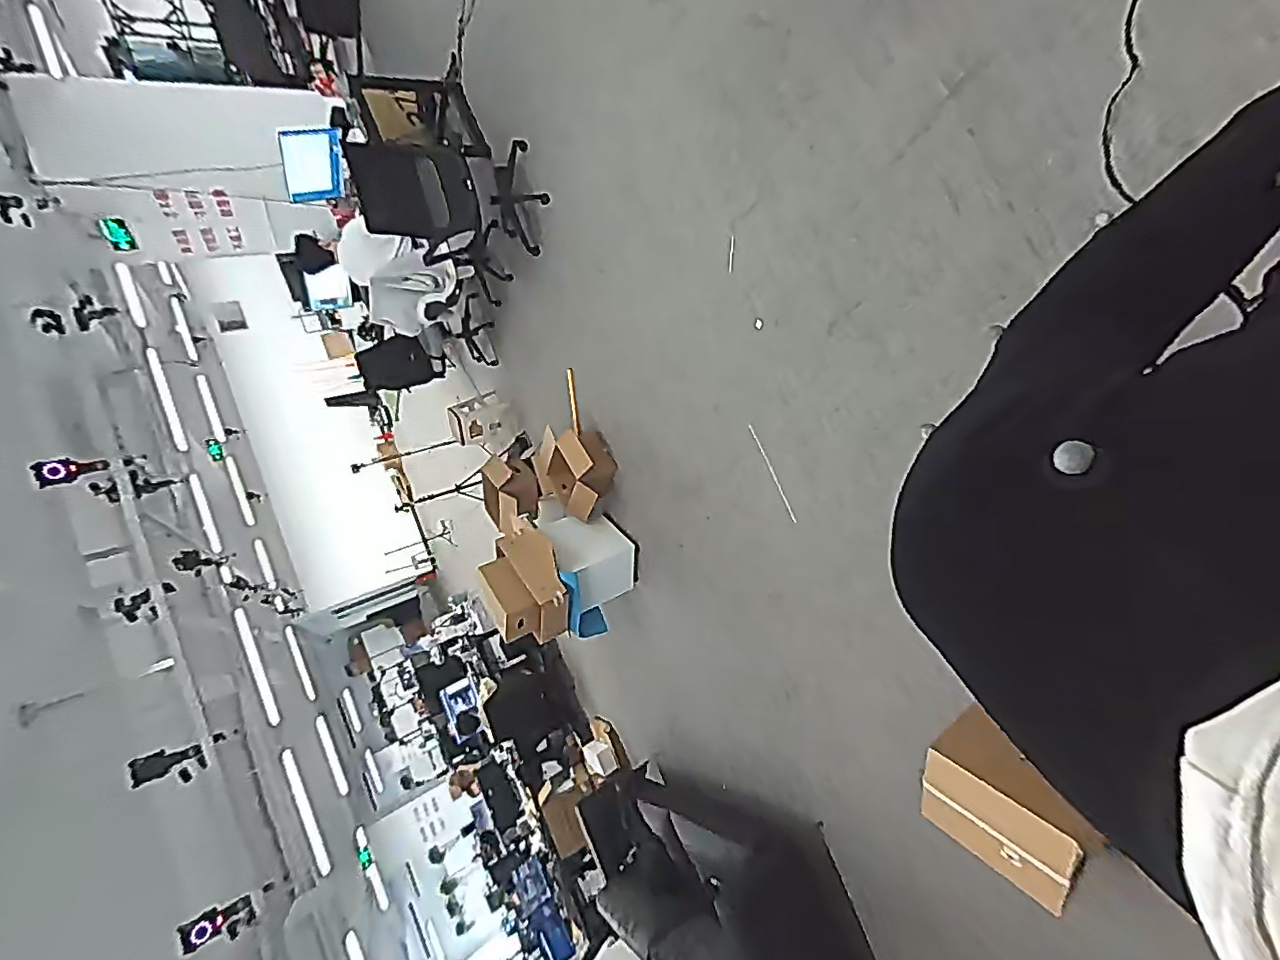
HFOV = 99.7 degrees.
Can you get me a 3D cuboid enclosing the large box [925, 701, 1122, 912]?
[{"bbox_3d":[1.170,0.978,1.682,0.408,0.320,0.320,22,127,51],"label":"large box"}]
